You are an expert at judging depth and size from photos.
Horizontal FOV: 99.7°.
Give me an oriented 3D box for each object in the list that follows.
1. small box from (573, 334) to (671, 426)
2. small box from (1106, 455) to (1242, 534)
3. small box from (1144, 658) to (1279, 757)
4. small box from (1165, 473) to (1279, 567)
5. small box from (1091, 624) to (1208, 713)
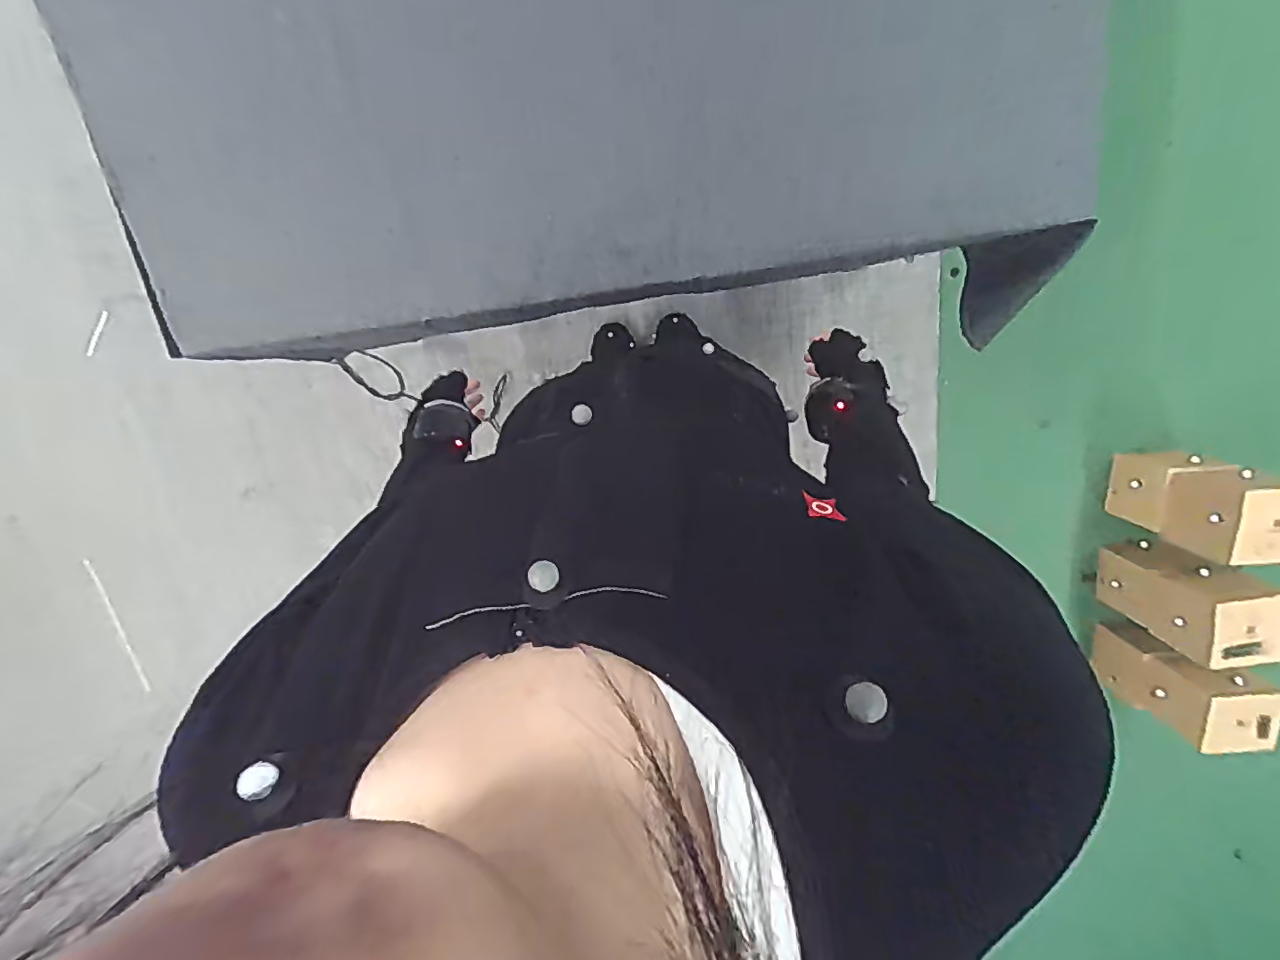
[{"bbox_3d":[-0.051,-0.258,1.377,0.179,0.176,0.168,34,116,10],"label":"small box"},{"bbox_3d":[1.359,0.033,1.392,0.179,0.176,0.168,-2,105,2],"label":"small box"},{"bbox_3d":[1.447,0.568,1.368,0.179,0.176,0.168,-5,106,3],"label":"small box"},{"bbox_3d":[1.366,0.084,1.235,0.168,0.176,0.179,-3,105,3],"label":"small box"},{"bbox_3d":[1.427,0.528,1.527,0.168,0.176,0.179,-4,105,3],"label":"small box"}]
